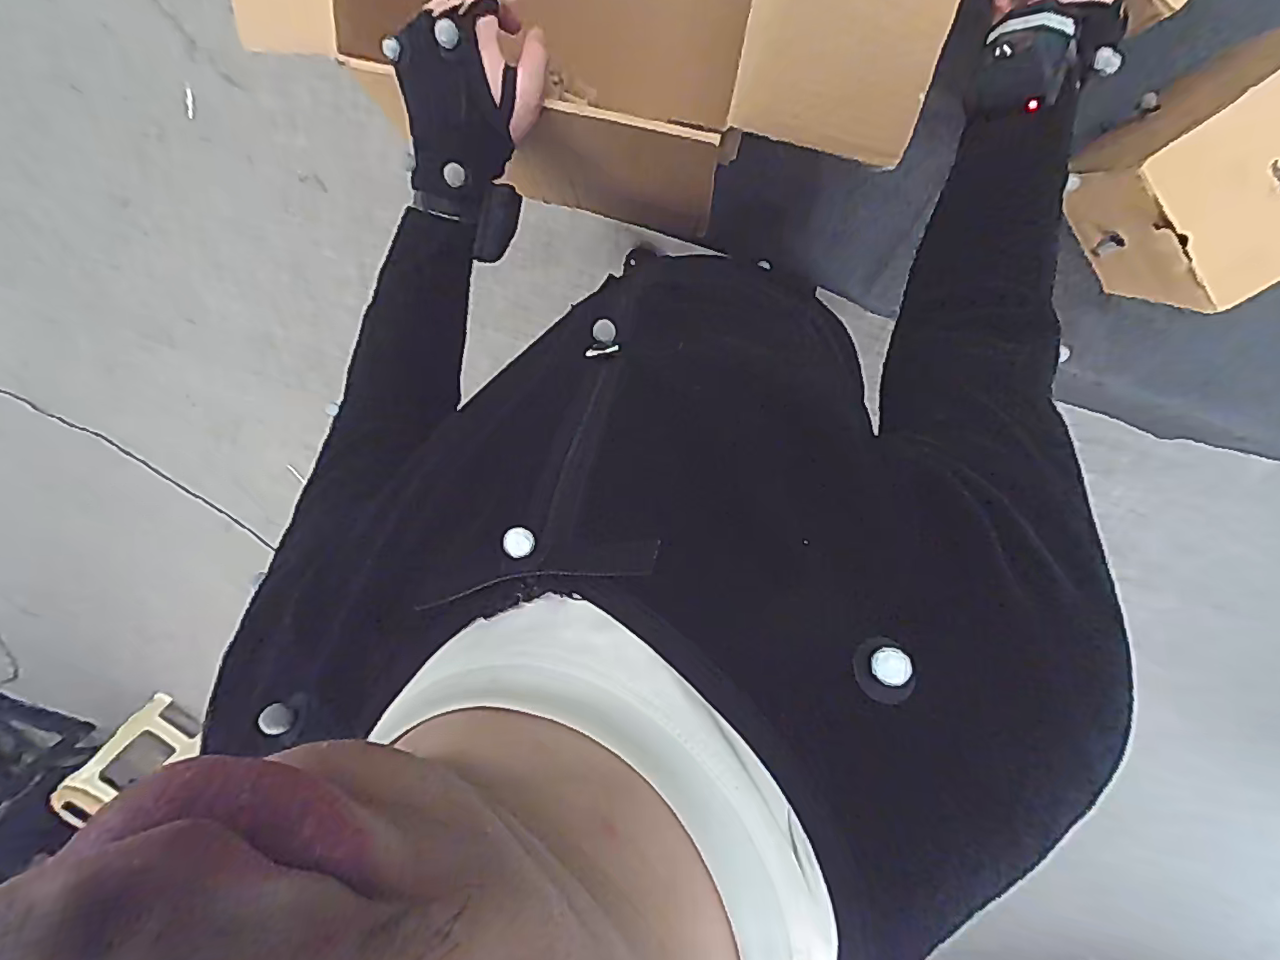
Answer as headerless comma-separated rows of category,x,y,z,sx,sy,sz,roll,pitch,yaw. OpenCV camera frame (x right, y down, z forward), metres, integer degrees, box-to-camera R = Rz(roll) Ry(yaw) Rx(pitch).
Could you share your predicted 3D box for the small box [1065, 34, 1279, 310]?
small box,0.567,-0.297,0.531,0.179,0.176,0.168,-34,105,25
